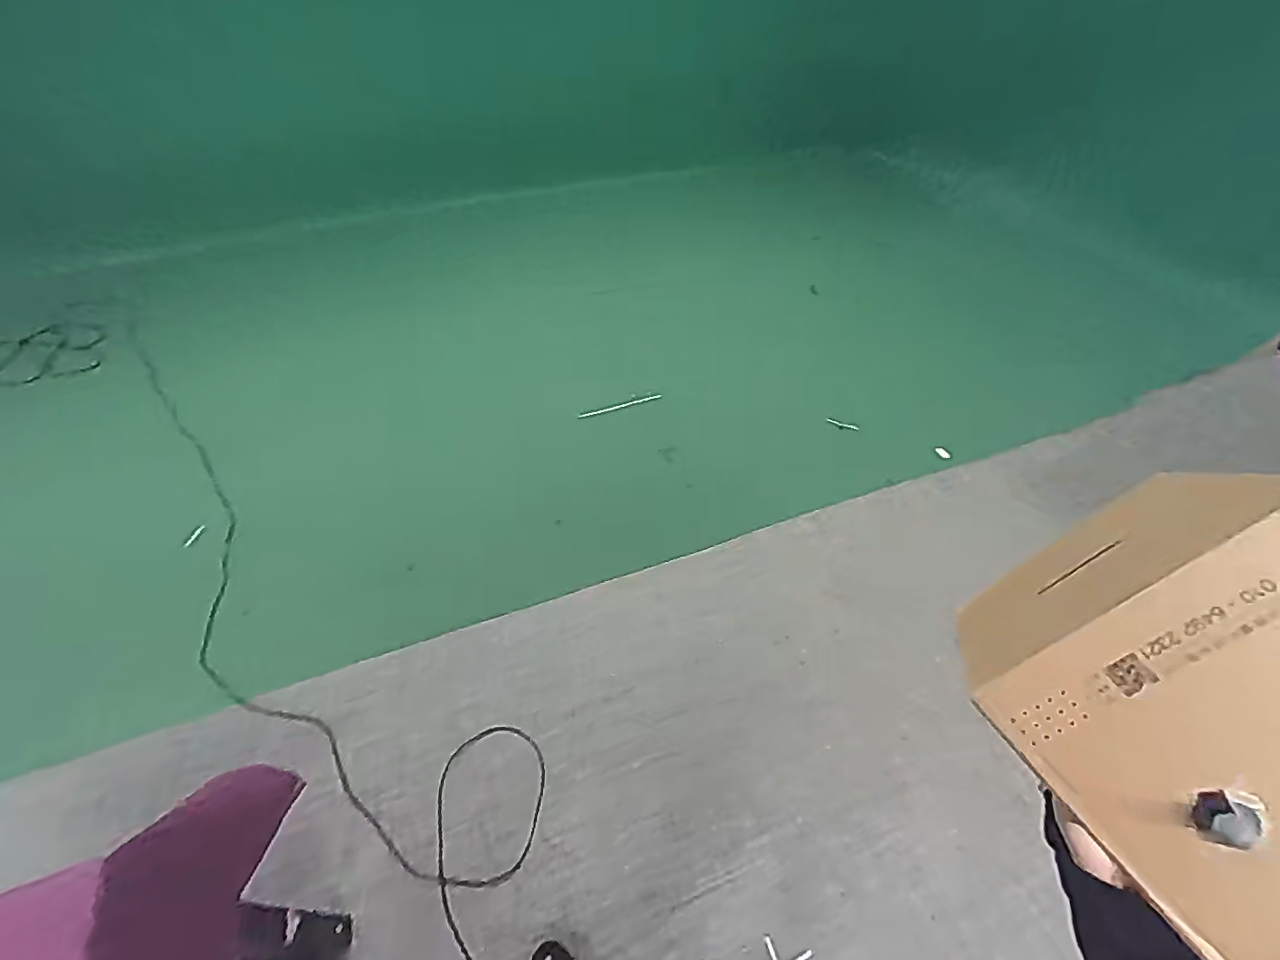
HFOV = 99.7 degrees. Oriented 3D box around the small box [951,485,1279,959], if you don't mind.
[{"bbox_3d":[0.303,0.116,0.296,0.176,0.168,0.179,52,21,16],"label":"small box"}]
